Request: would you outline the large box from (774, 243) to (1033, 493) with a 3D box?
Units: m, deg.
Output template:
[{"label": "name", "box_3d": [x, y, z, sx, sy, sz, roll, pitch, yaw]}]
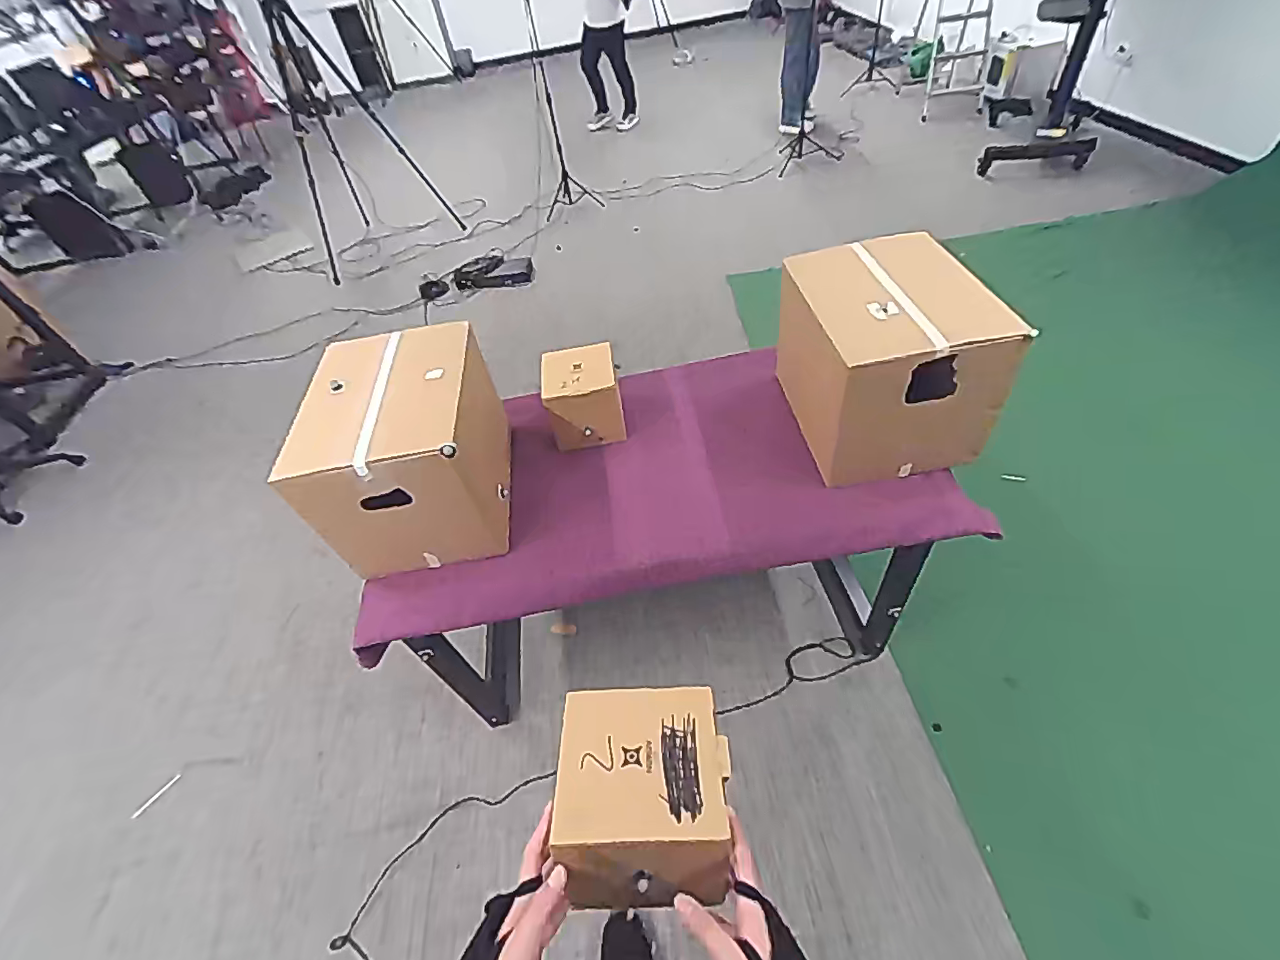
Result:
[{"label": "large box", "box_3d": [0.491, -0.238, 1.130, 0.320, 0.320, 0.408, -10, 48, 2]}]

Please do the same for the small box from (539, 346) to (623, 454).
[{"label": "small box", "box_3d": [-0.137, -0.188, 1.281, 0.168, 0.176, 0.179, -10, 48, 1]}]
